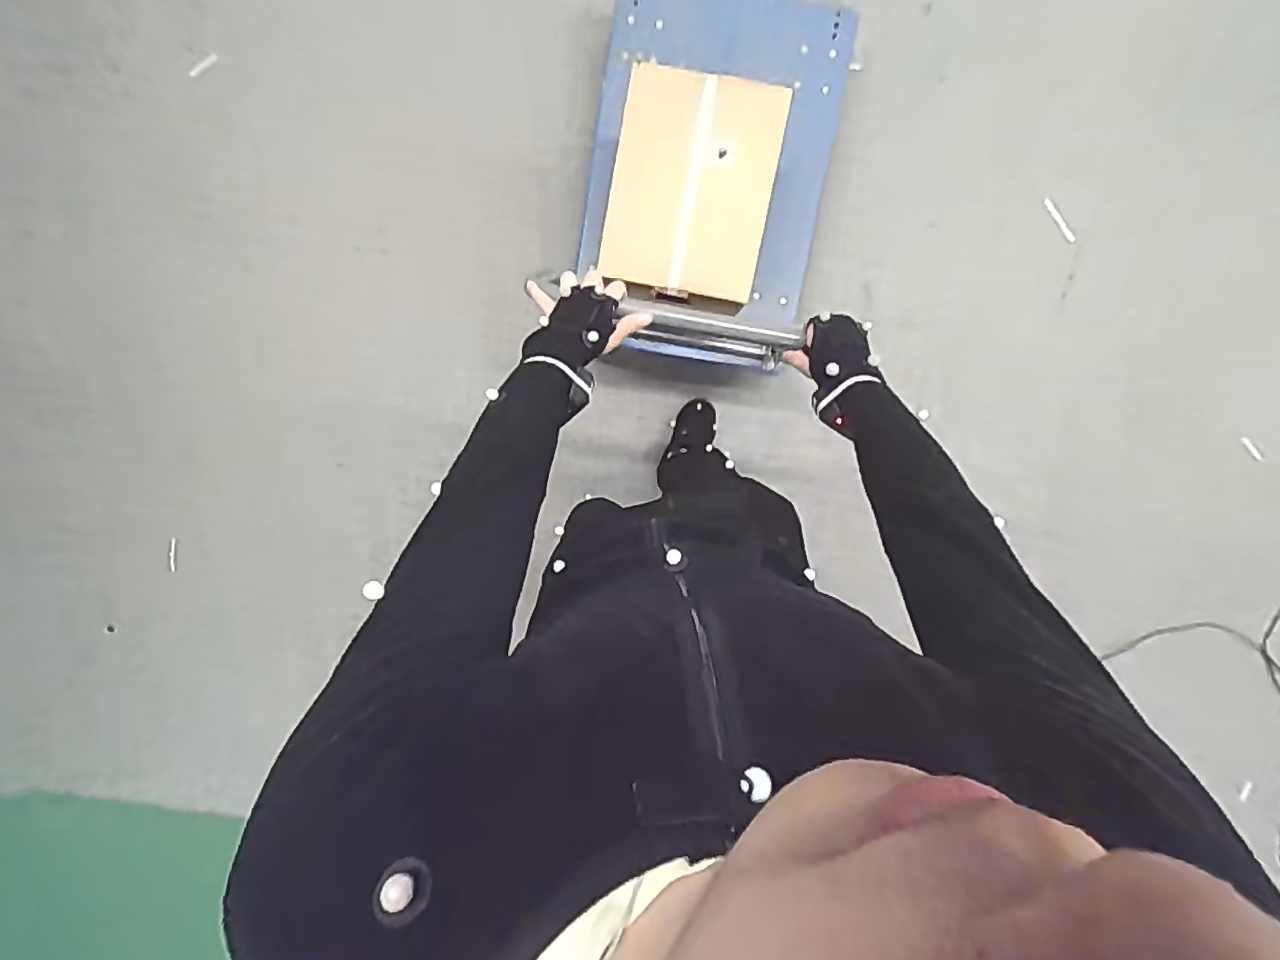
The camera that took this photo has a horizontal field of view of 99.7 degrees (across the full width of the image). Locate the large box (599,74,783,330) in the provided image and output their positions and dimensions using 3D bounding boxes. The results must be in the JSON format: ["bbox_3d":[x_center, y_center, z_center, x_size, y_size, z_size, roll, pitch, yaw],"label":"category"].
[{"bbox_3d":[0.103,-0.584,1.215,0.320,0.320,0.408,10,96,0],"label":"large box"}]
